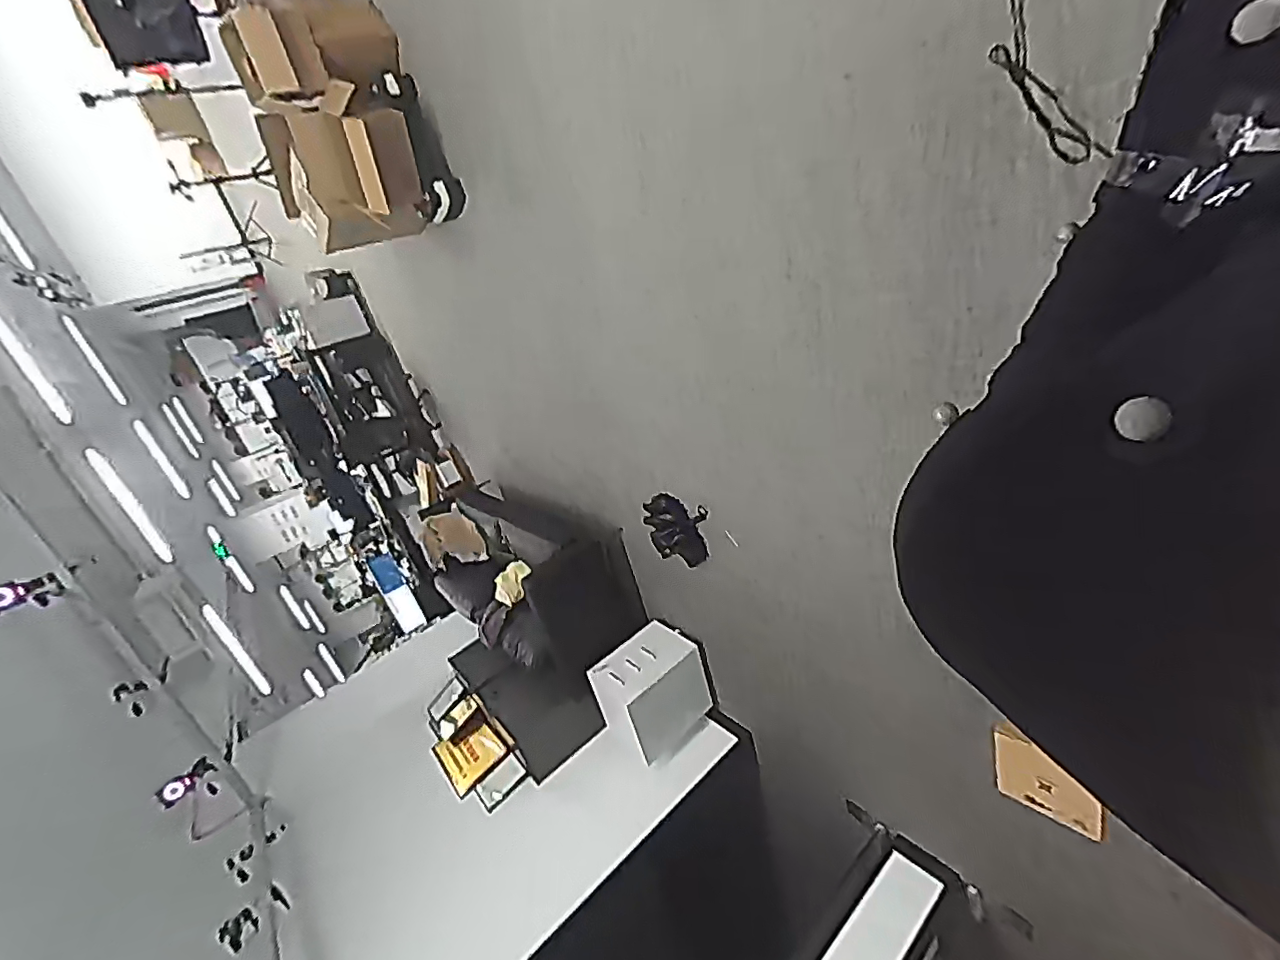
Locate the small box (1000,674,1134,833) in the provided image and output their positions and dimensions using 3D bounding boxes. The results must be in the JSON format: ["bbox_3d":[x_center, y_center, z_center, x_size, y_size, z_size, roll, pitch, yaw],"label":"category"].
[{"bbox_3d":[0.818,0.510,1.038,0.168,0.176,0.179,12,125,52],"label":"small box"}]
